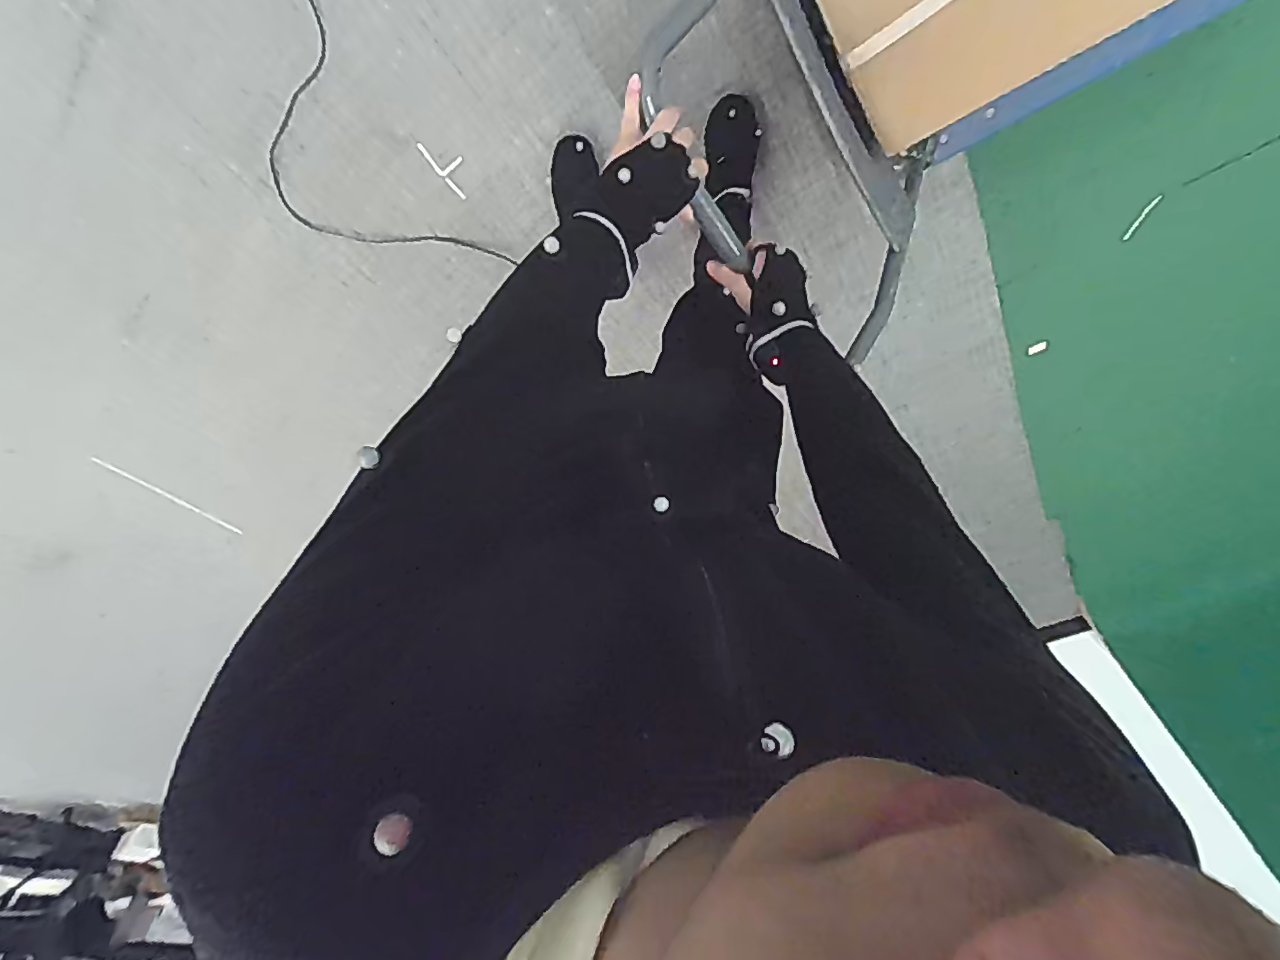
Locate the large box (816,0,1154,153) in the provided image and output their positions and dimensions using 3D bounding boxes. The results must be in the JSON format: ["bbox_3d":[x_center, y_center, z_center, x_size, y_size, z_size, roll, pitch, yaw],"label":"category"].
[{"bbox_3d":[0.486,-0.761,0.736,0.408,0.320,0.320,-14,133,43],"label":"large box"}]
